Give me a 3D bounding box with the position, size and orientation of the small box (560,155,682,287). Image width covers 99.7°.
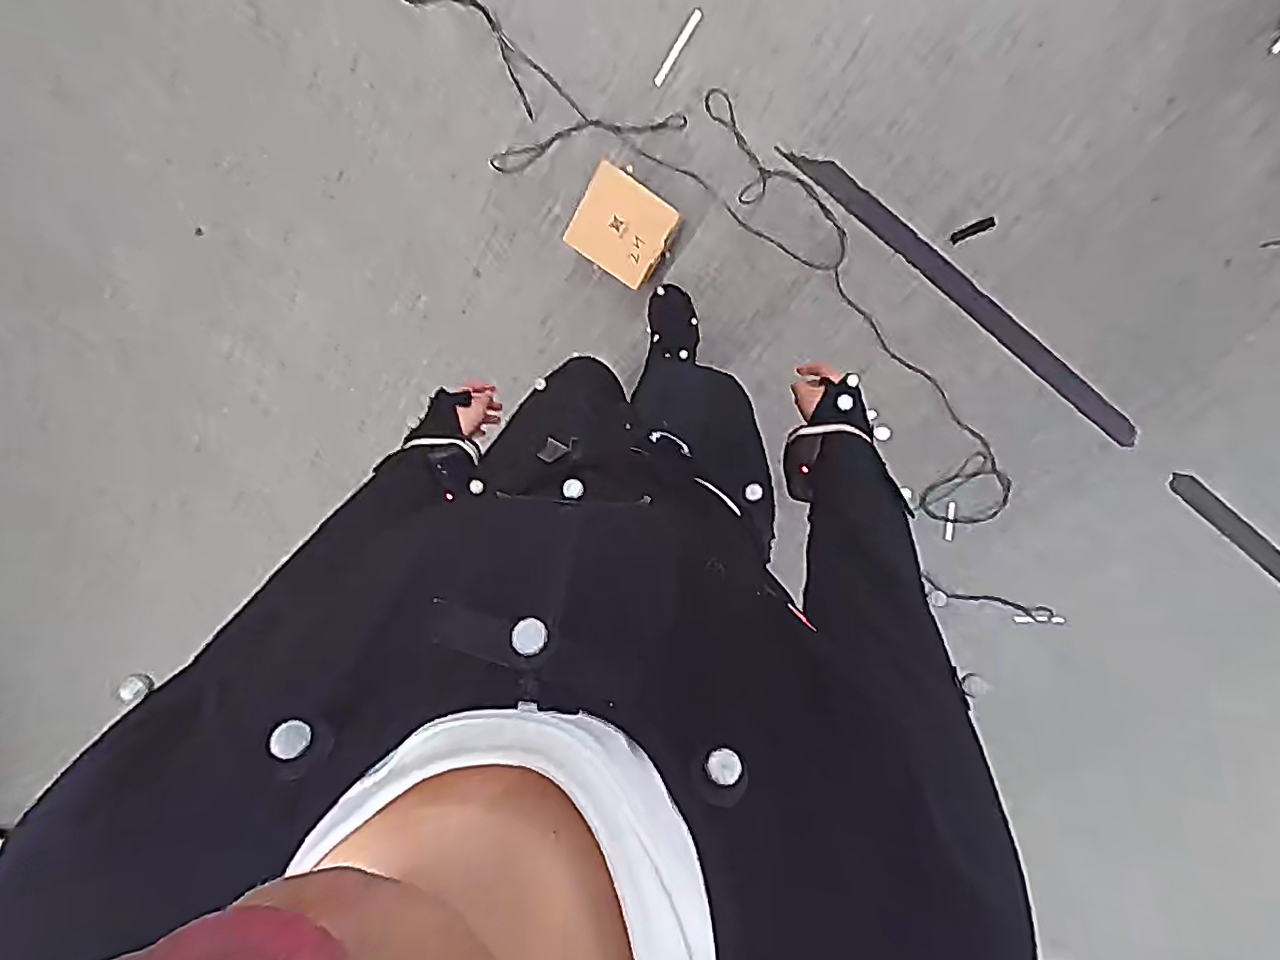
[{"bbox_3d":[-0.032,-0.516,1.093,0.179,0.176,0.168,33,115,-8],"label":"small box"}]
